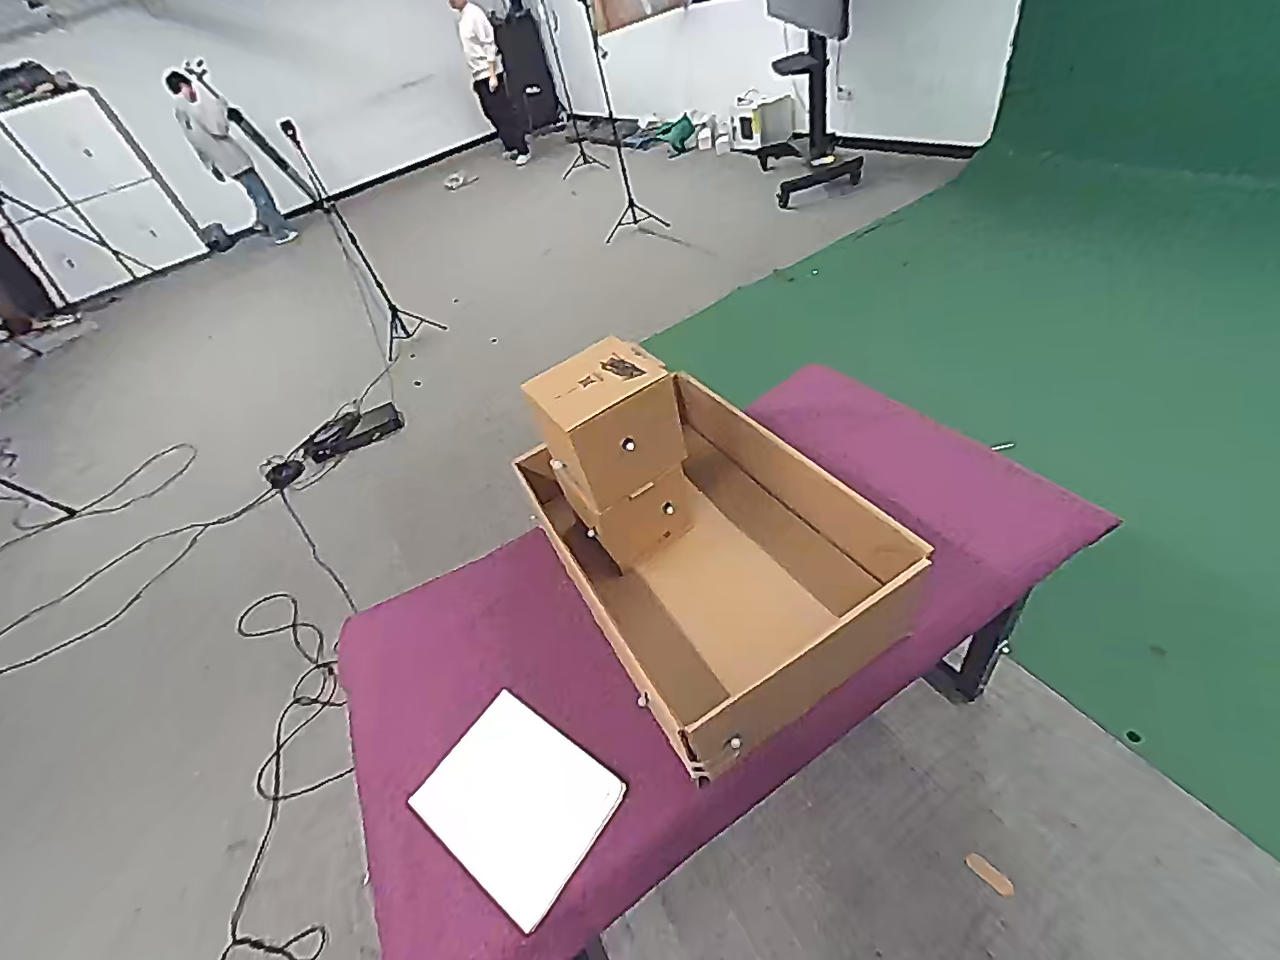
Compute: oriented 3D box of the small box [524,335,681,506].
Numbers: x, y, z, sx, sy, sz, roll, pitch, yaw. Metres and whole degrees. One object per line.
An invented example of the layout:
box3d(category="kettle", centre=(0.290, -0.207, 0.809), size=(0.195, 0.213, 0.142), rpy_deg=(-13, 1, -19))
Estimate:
box3d(category="small box", centre=(-0.050, -0.094, 0.850), size=(0.179, 0.176, 0.168), rpy_deg=(-32, 45, -15))
